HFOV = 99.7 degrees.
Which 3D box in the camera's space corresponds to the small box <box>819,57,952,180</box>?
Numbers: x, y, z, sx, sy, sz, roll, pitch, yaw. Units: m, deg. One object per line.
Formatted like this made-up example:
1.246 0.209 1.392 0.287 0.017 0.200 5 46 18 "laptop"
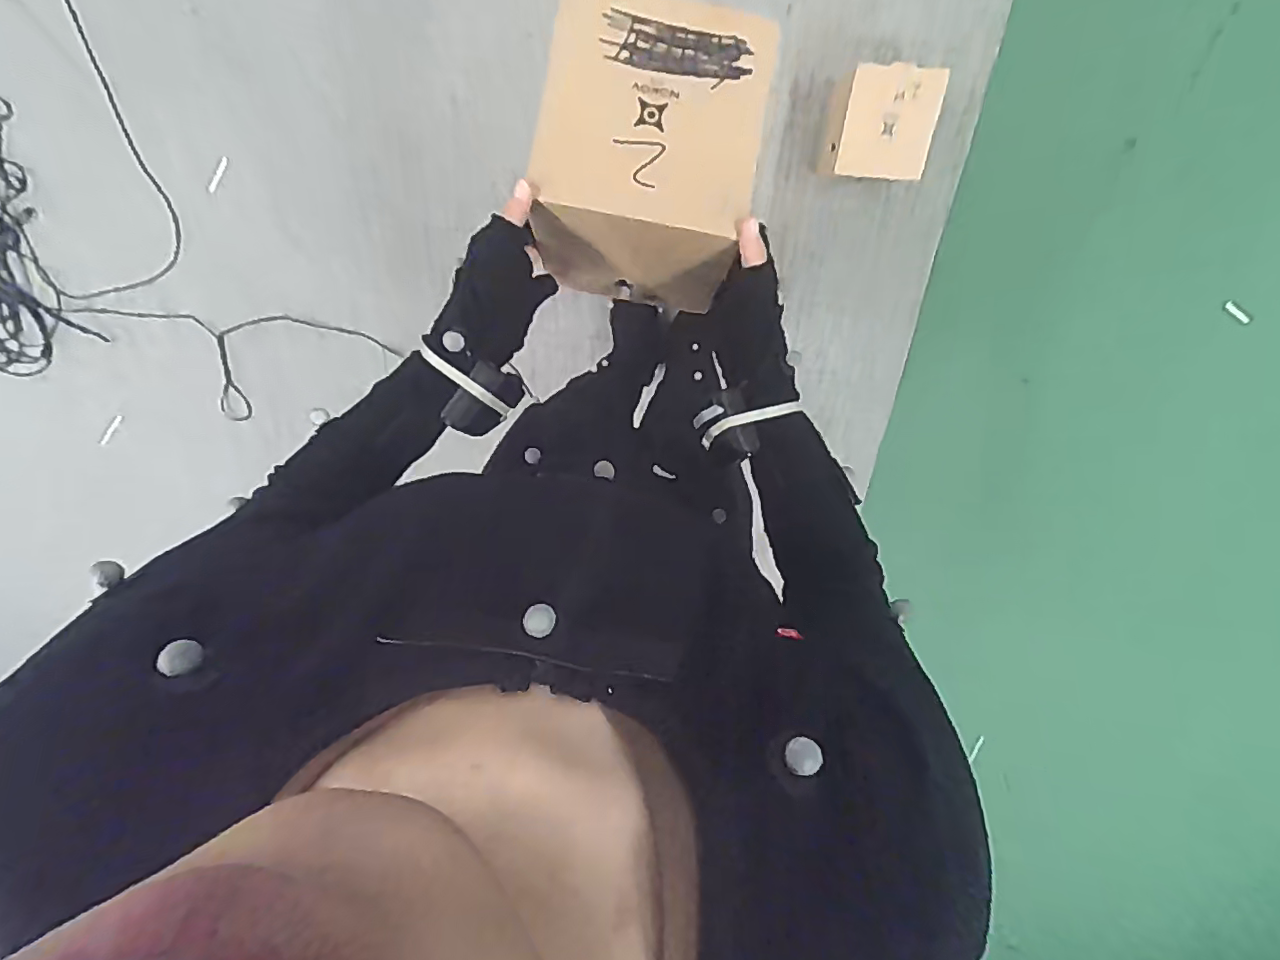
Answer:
0.459 -0.687 1.044 0.168 0.176 0.179 6 118 1 "small box"
